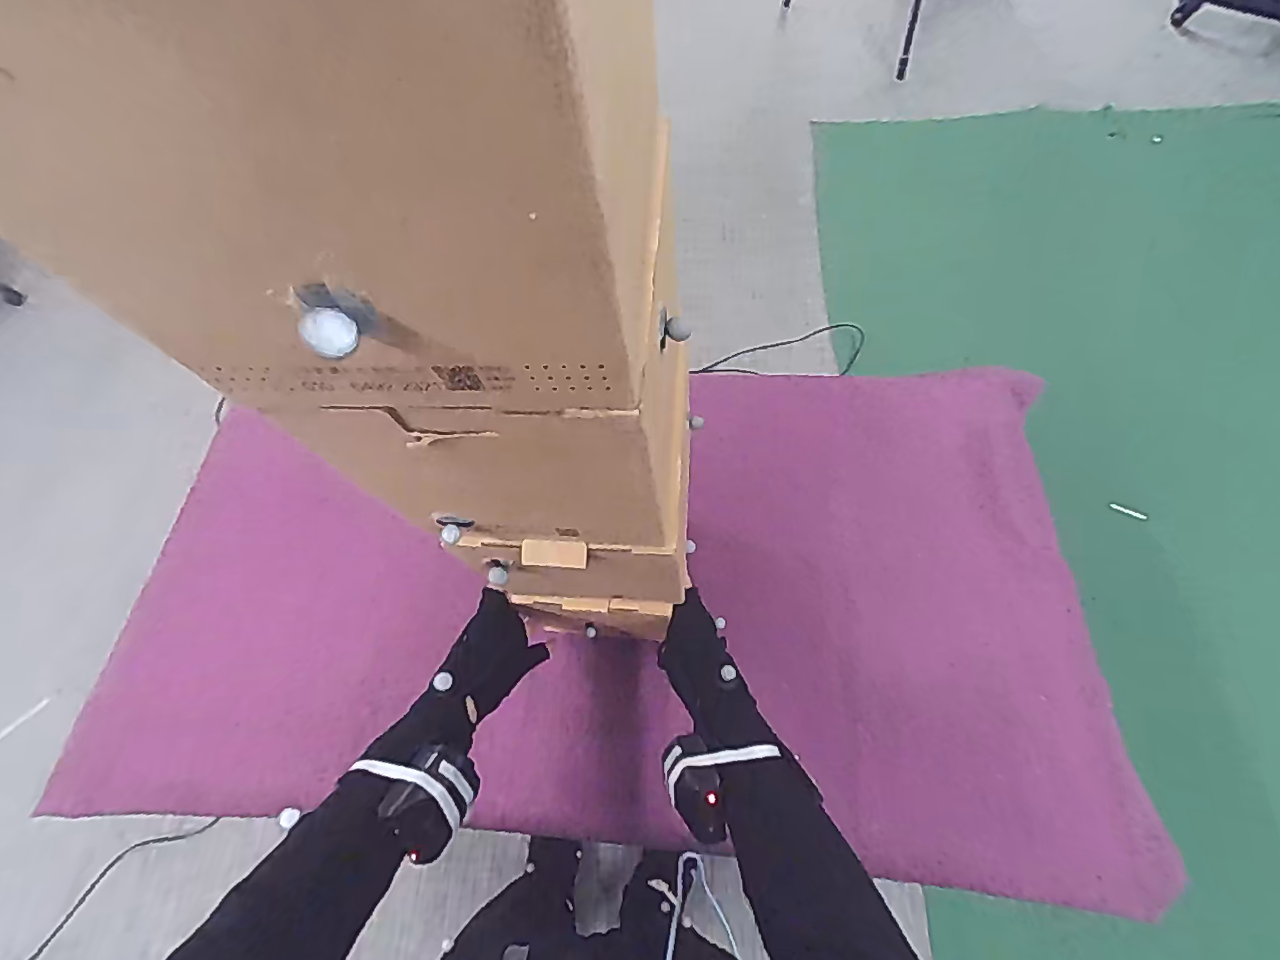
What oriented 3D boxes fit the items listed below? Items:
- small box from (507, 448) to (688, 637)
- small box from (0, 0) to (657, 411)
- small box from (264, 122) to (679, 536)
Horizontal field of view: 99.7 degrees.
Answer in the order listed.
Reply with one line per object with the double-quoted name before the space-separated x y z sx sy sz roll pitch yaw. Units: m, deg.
"small box" -0.034 0.073 0.618 0.168 0.176 0.179 3 67 7
"small box" -0.085 -0.142 0.176 0.168 0.176 0.179 2 66 7
"small box" -0.065 -0.074 0.324 0.168 0.176 0.179 2 65 7
